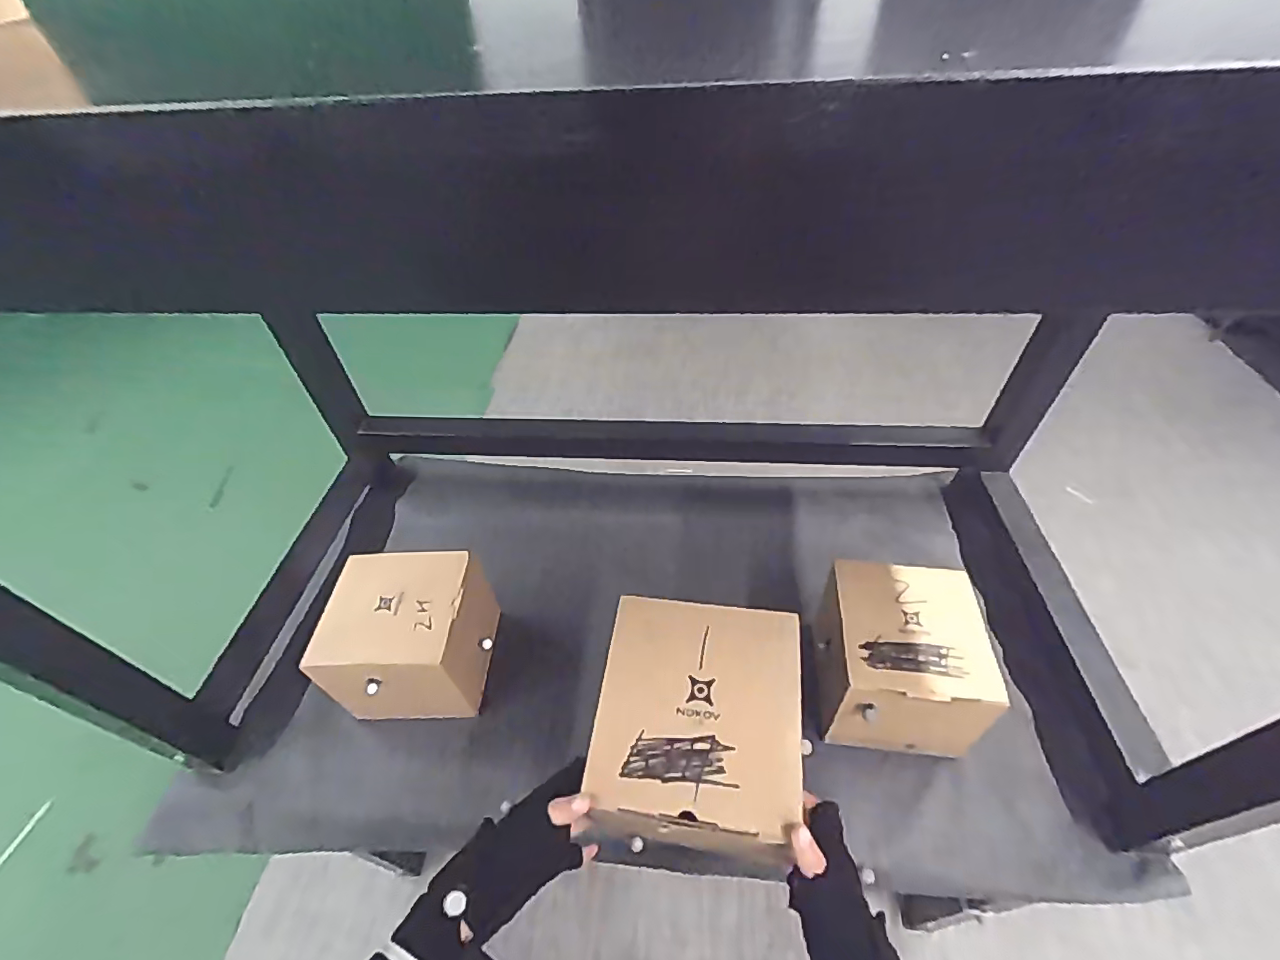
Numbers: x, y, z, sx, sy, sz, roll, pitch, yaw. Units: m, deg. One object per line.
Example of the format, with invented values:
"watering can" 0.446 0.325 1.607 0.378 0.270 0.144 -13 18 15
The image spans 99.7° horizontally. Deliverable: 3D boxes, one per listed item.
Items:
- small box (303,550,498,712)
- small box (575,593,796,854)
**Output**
"small box" -0.317 0.214 0.760 0.179 0.176 0.168 -1 47 2
"small box" 0.052 0.231 0.508 0.168 0.176 0.179 5 52 11
